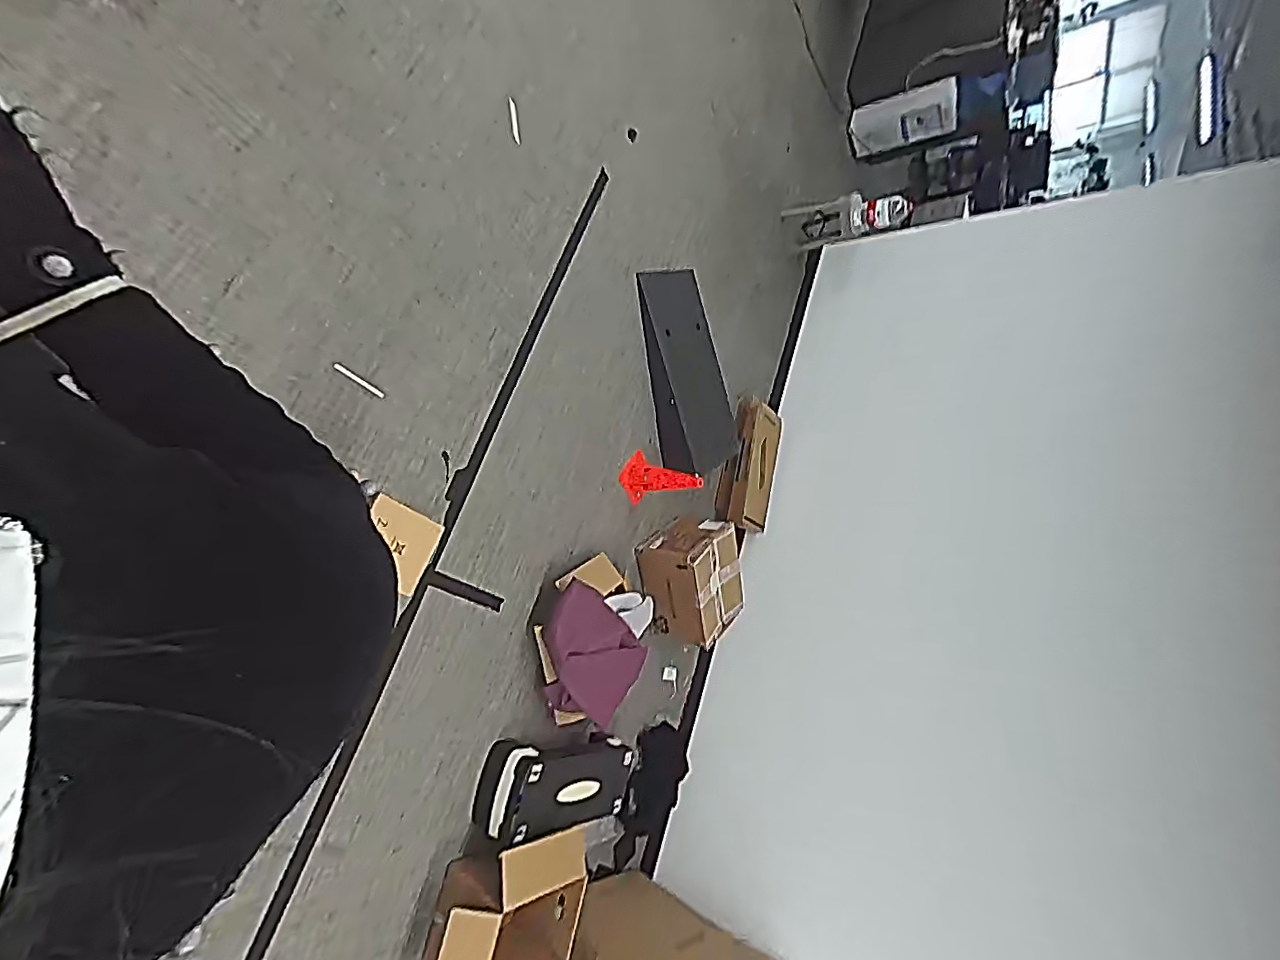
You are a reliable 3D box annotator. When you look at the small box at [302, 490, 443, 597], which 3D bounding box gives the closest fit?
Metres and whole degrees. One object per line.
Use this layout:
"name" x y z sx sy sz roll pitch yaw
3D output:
"small box" -0.570 0.131 1.155 0.179 0.176 0.168 43 60 -46
